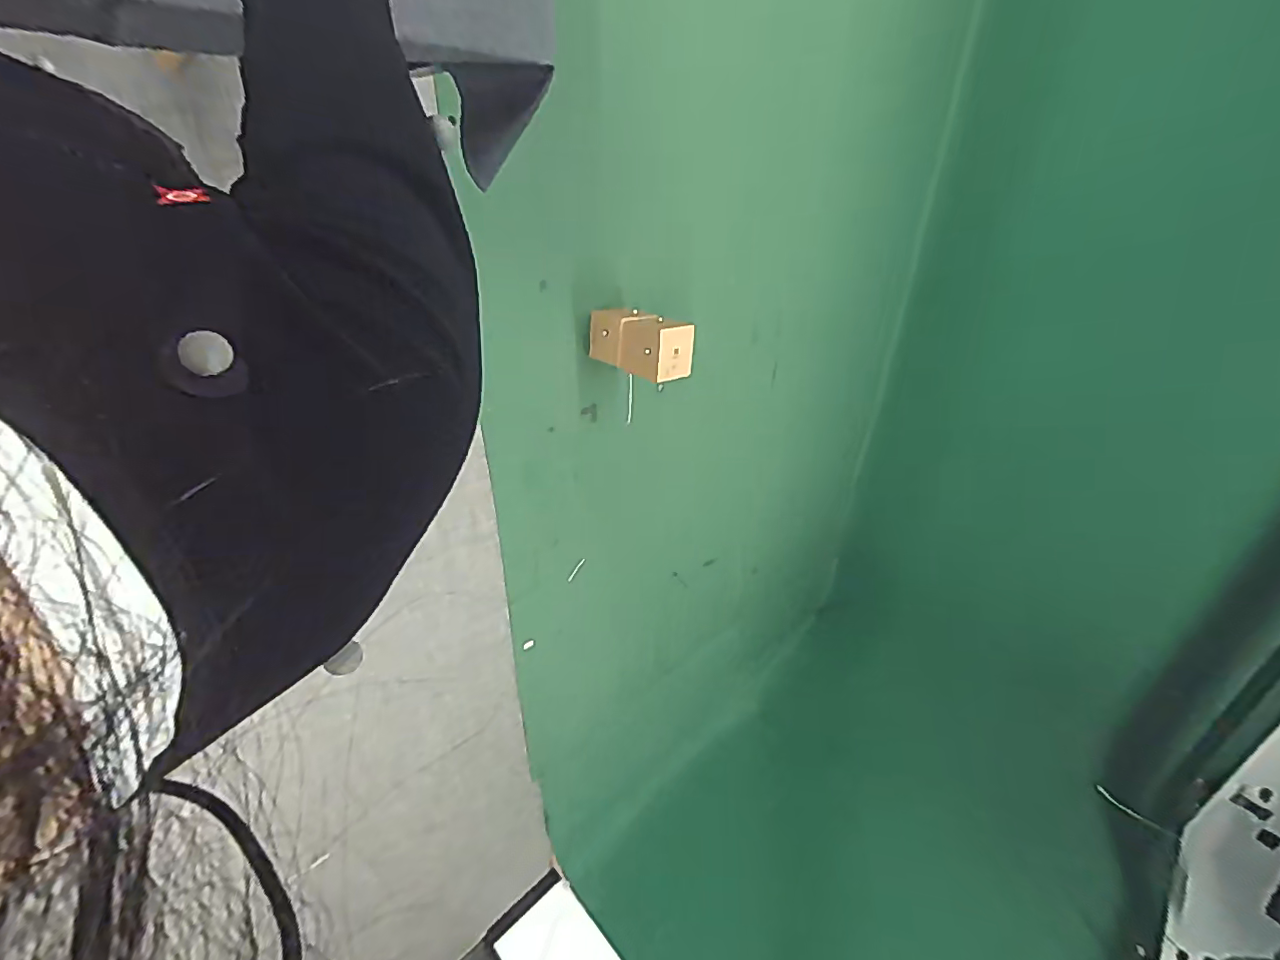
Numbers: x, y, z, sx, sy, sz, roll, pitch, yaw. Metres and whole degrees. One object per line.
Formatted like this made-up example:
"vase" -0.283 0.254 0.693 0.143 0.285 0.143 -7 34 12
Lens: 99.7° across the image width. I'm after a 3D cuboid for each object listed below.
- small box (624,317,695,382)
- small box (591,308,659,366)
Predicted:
"small box" 0.062 -0.445 1.818 0.168 0.176 0.179 -21 126 -40
"small box" -0.058 -0.508 1.911 0.179 0.176 0.168 -20 125 -40
